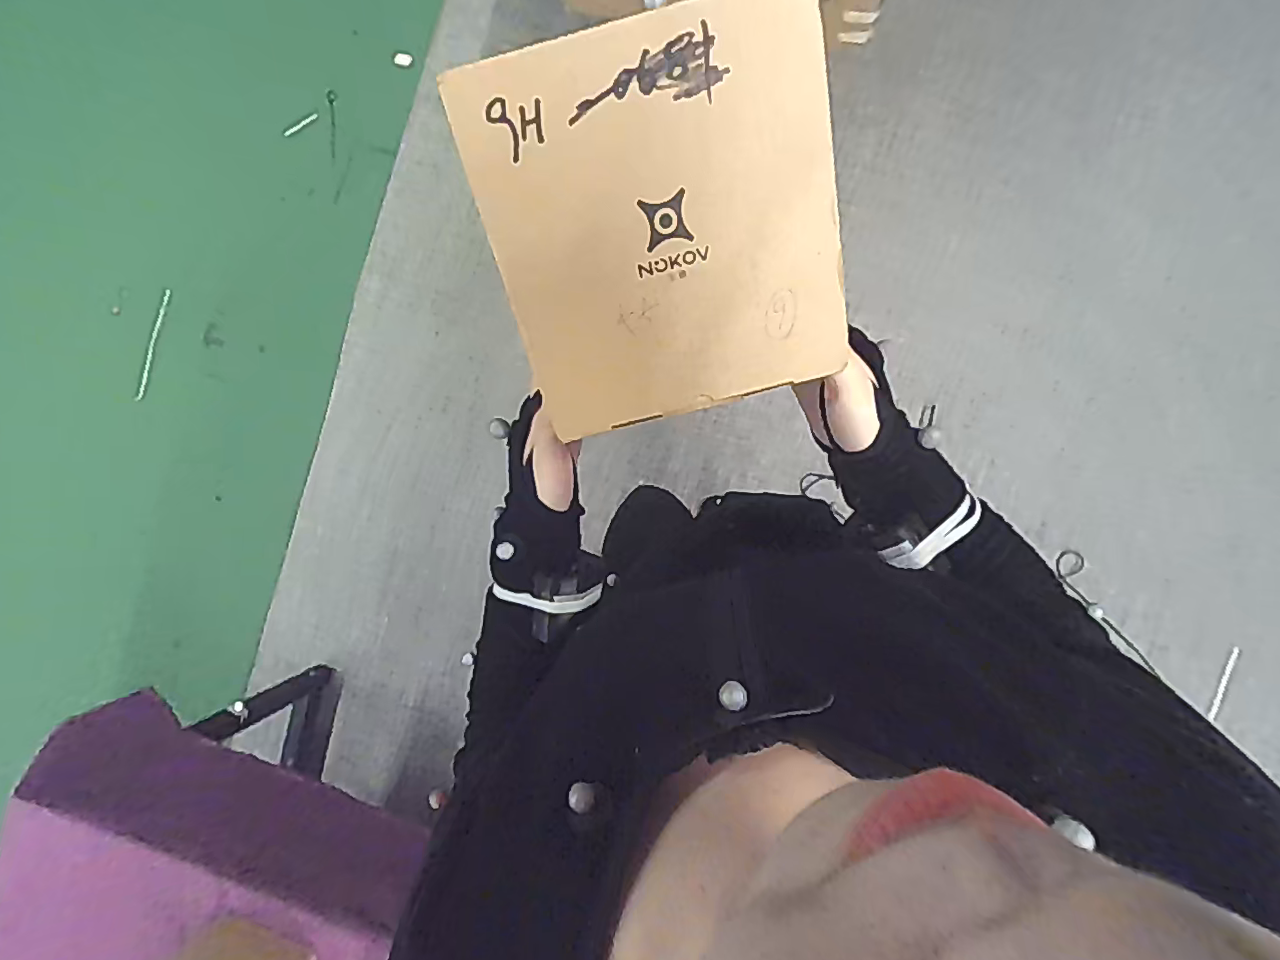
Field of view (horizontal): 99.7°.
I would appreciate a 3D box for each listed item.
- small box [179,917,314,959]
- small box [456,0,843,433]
[{"bbox_3d":[-0.626,0.804,0.796,0.179,0.176,0.168,17,93,7],"label":"small box"},{"bbox_3d":[0.012,-0.153,0.339,0.168,0.176,0.179,-13,116,2],"label":"small box"}]
